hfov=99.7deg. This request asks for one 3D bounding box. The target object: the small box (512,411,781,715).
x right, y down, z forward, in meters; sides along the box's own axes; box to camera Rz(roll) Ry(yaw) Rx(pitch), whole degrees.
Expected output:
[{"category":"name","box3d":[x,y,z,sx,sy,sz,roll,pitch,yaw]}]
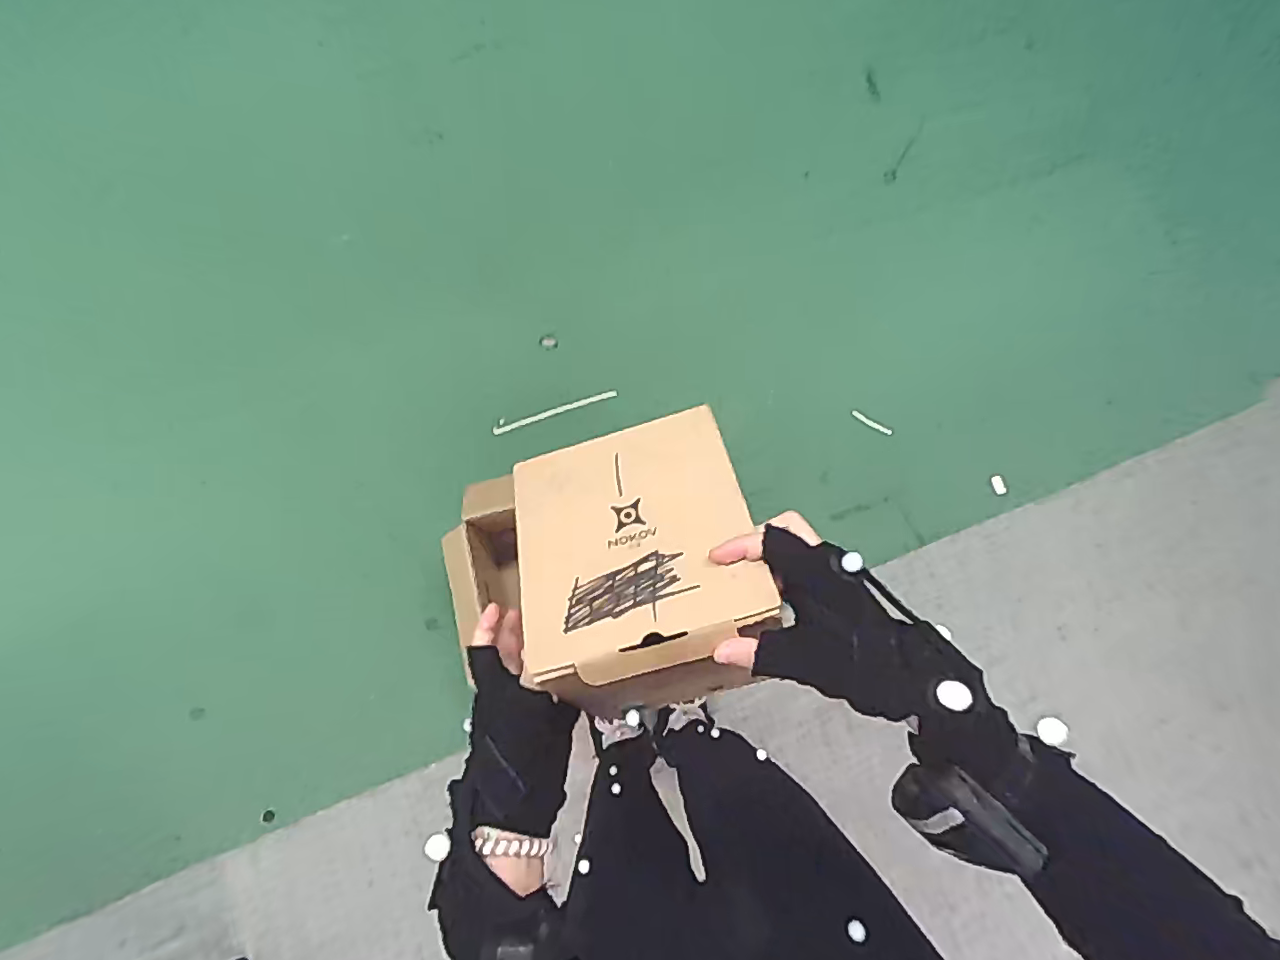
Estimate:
[{"category":"small box","box3d":[0.010,0.079,0.443,0.168,0.176,0.179,-17,55,3]}]
